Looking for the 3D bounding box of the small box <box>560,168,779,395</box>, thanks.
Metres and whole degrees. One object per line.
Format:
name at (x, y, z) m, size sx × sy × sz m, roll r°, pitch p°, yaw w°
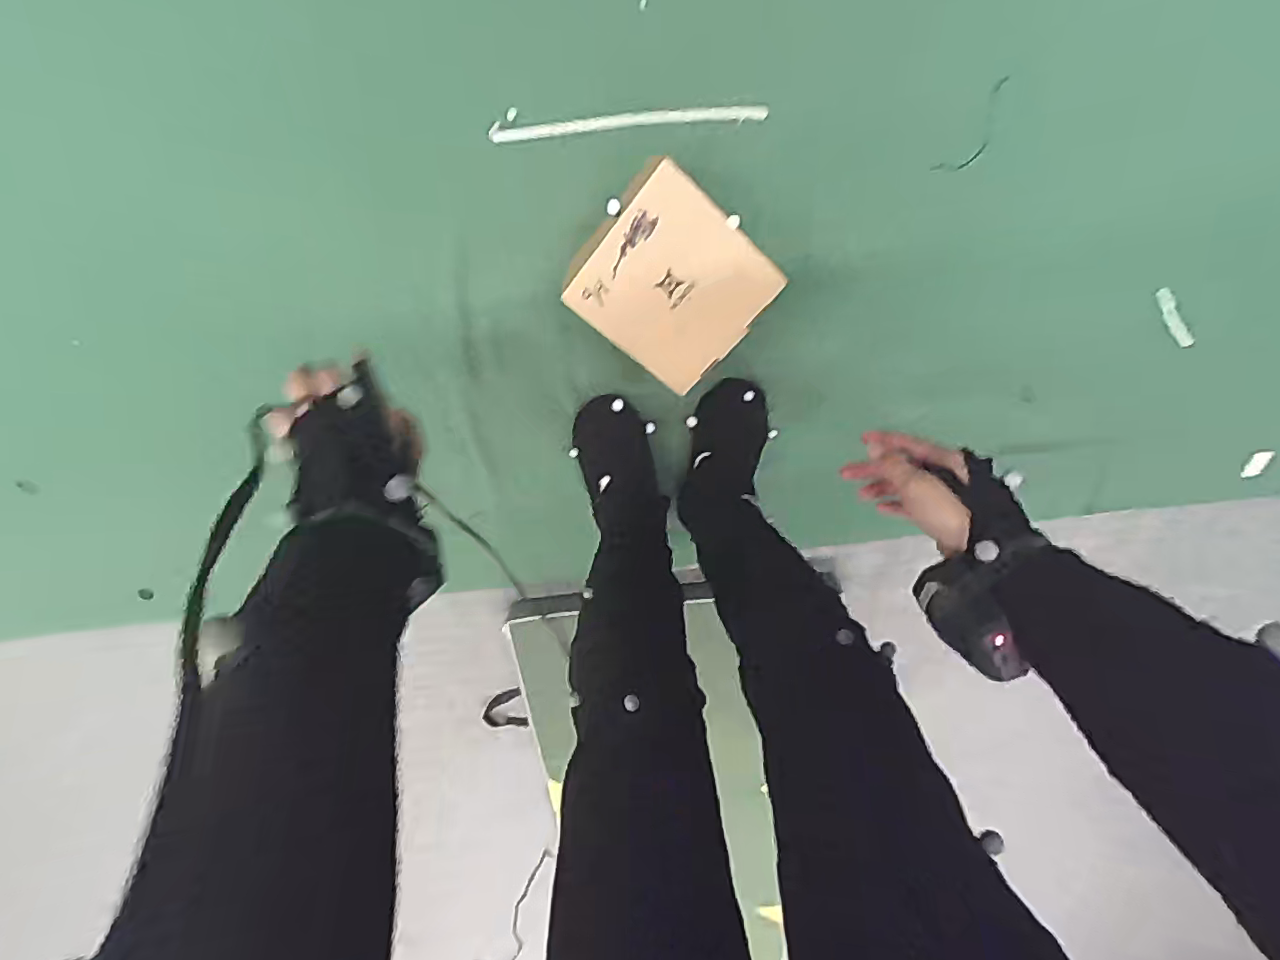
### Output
small box at (0.026, -0.238, 0.632) m, size 0.179 × 0.176 × 0.168 m, roll 35°, pitch 111°, yaw -23°
